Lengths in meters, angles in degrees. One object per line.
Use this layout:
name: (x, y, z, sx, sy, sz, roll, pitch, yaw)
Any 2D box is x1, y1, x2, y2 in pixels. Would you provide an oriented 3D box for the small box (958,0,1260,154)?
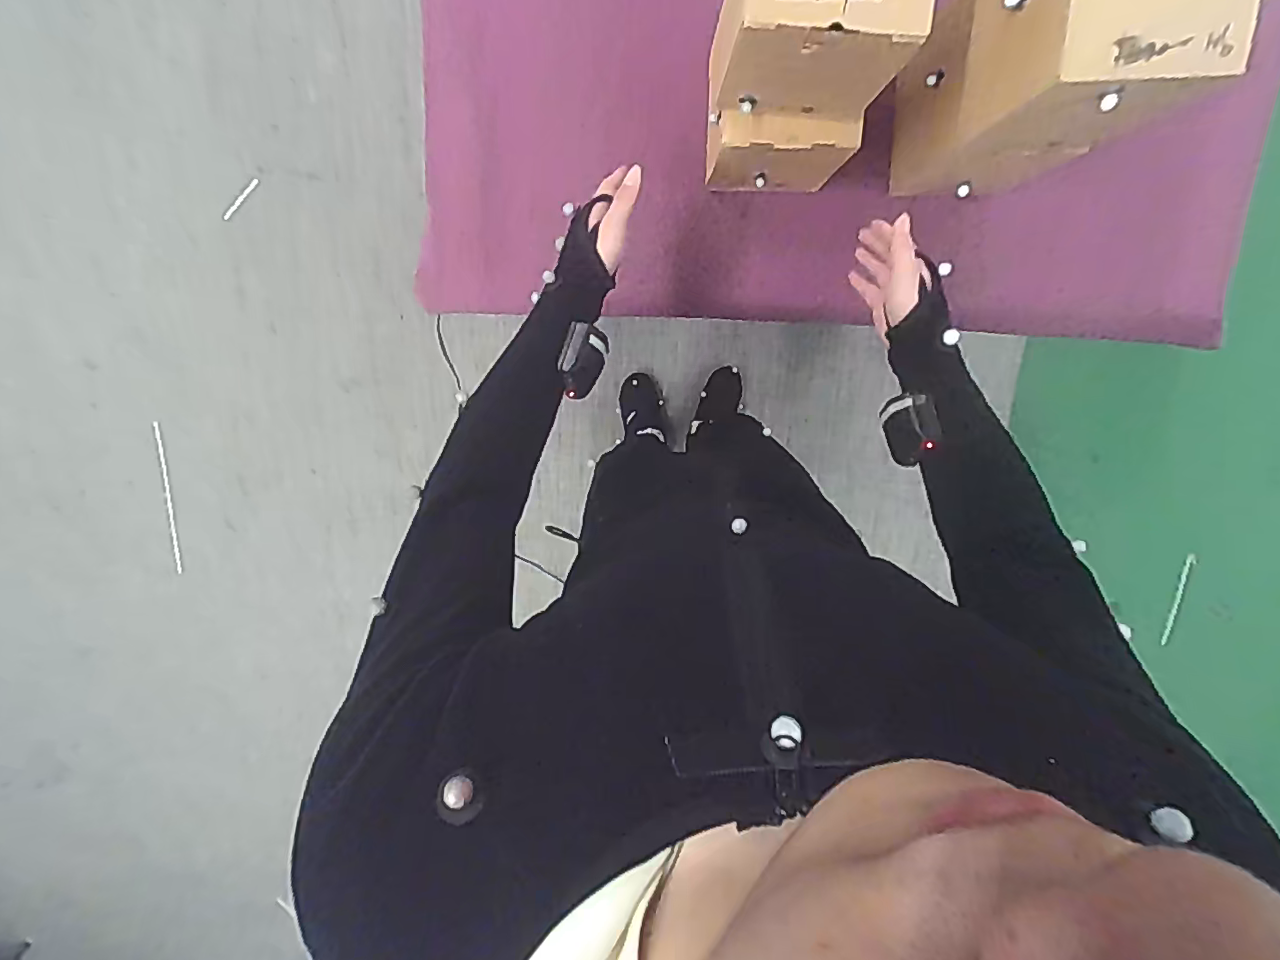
small box: (0.445, -0.452, 0.535, 0.168, 0.176, 0.179, -2, 101, 1)

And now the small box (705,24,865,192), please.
small box: (0.178, -0.492, 0.695, 0.168, 0.176, 0.179, 0, 103, -1)

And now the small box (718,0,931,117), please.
small box: (0.173, -0.488, 0.528, 0.168, 0.176, 0.179, 4, 101, -1)

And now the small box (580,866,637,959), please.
small box: (-0.100, 1.425, 1.784, 0.168, 0.176, 0.179, 7, 102, -3)

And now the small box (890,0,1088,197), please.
small box: (0.443, -0.485, 0.696, 0.168, 0.176, 0.179, -1, 102, 0)
